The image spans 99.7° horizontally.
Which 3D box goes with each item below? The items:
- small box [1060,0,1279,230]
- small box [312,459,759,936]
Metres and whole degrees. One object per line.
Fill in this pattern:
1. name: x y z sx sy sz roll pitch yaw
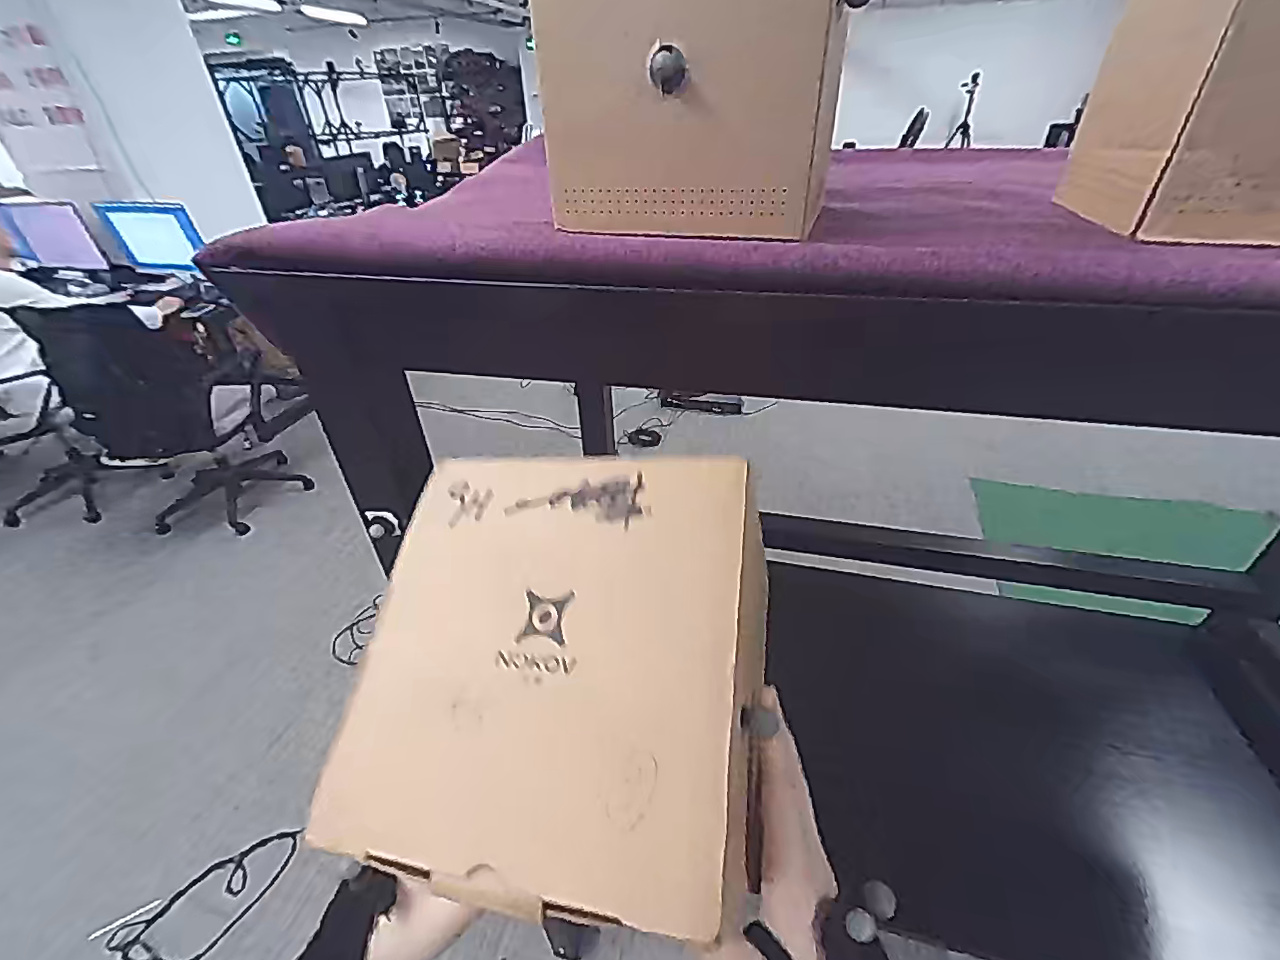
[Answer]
1. small box: 0.377 -0.243 0.303 0.168 0.176 0.179 9 36 17
2. small box: -0.024 0.105 0.298 0.168 0.176 0.179 0 62 16
